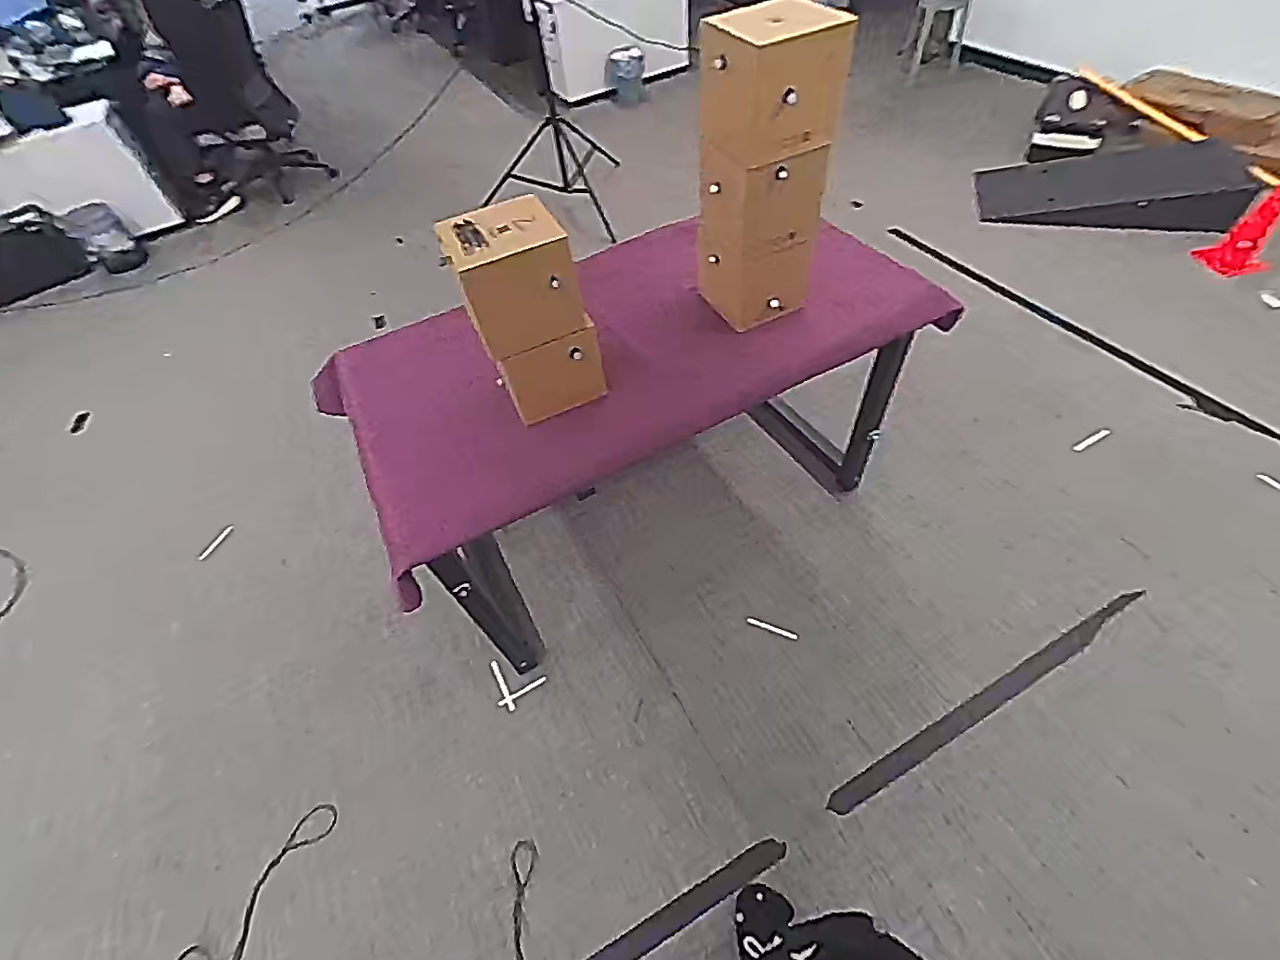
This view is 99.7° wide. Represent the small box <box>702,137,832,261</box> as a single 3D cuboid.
[{"bbox_3d":[0.226,-0.539,1.007,0.168,0.176,0.179,-23,53,-9],"label":"small box"}]

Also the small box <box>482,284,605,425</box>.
[{"bbox_3d":[-0.177,-0.237,1.034,0.179,0.176,0.168,-24,53,-11],"label":"small box"}]

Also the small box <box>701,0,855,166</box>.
[{"bbox_3d":[0.213,-0.633,0.873,0.168,0.176,0.179,-23,53,-9],"label":"small box"}]

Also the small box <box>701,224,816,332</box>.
[{"bbox_3d":[0.240,-0.444,1.140,0.168,0.176,0.179,-24,54,-11],"label":"small box"}]
